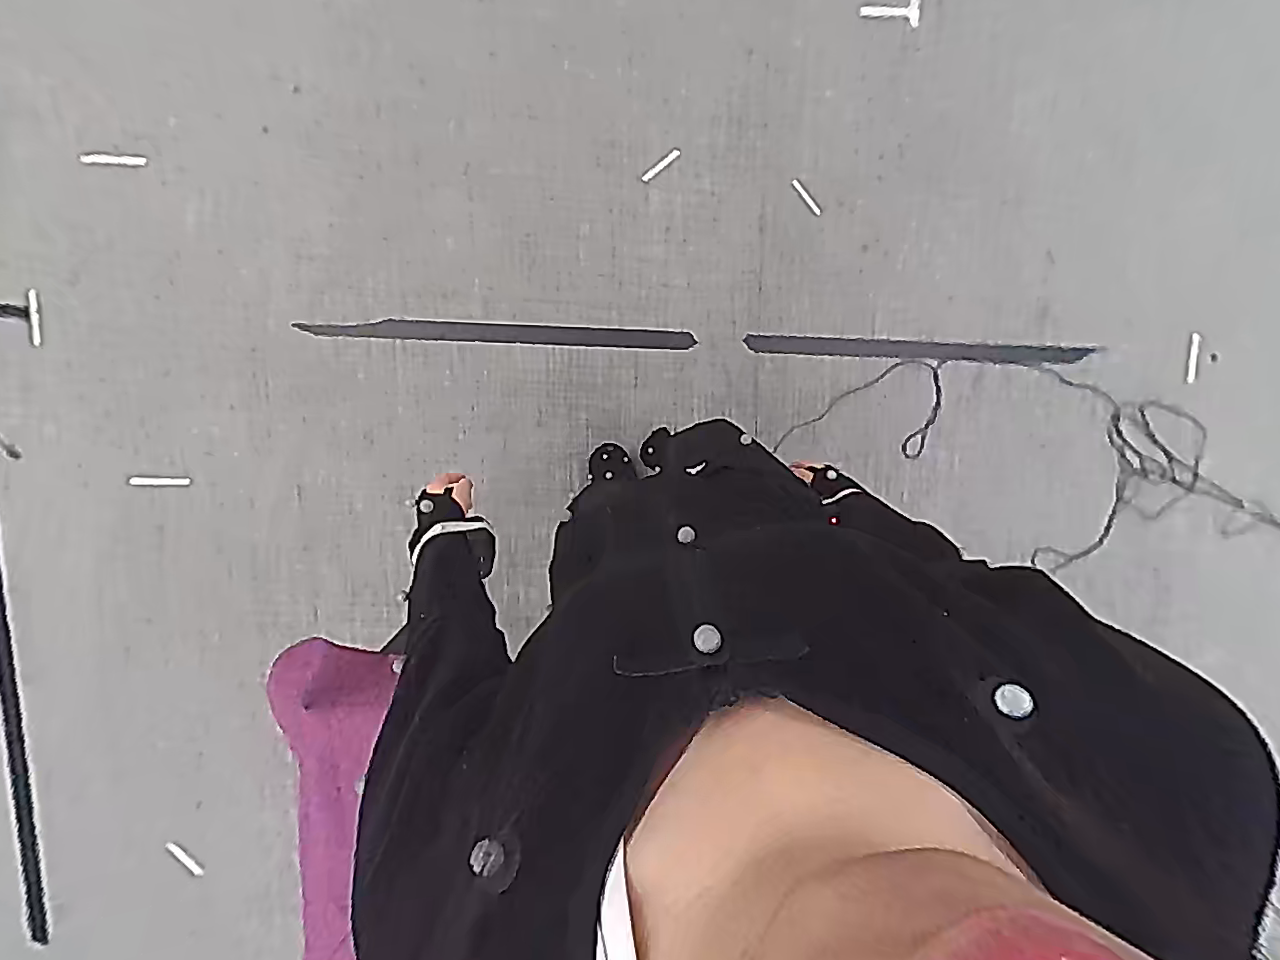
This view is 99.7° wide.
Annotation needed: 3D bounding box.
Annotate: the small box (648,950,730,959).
[{"bbox_3d":[0.086,0.833,0.779,0.168,0.176,0.179,7,95,-3],"label":"small box"}]
